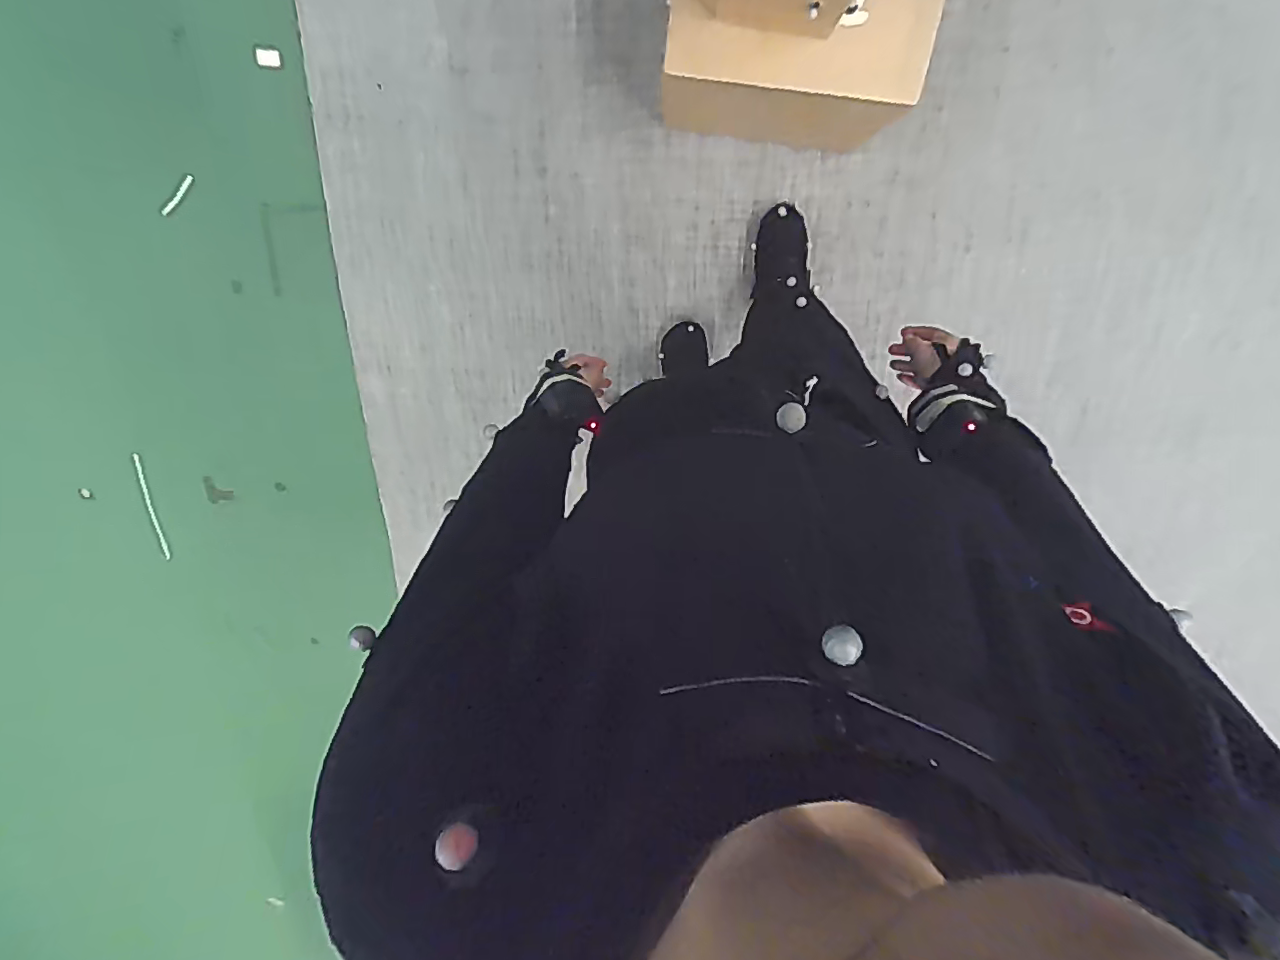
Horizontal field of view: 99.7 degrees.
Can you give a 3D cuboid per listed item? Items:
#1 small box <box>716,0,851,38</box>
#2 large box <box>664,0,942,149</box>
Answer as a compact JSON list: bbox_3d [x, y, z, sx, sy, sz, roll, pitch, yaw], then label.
[{"bbox_3d":[0.204,-0.718,0.707,0.179,0.176,0.168,8,108,1],"label":"small box"},{"bbox_3d":[0.256,-0.799,0.933,0.408,0.320,0.320,6,110,-1],"label":"large box"}]
